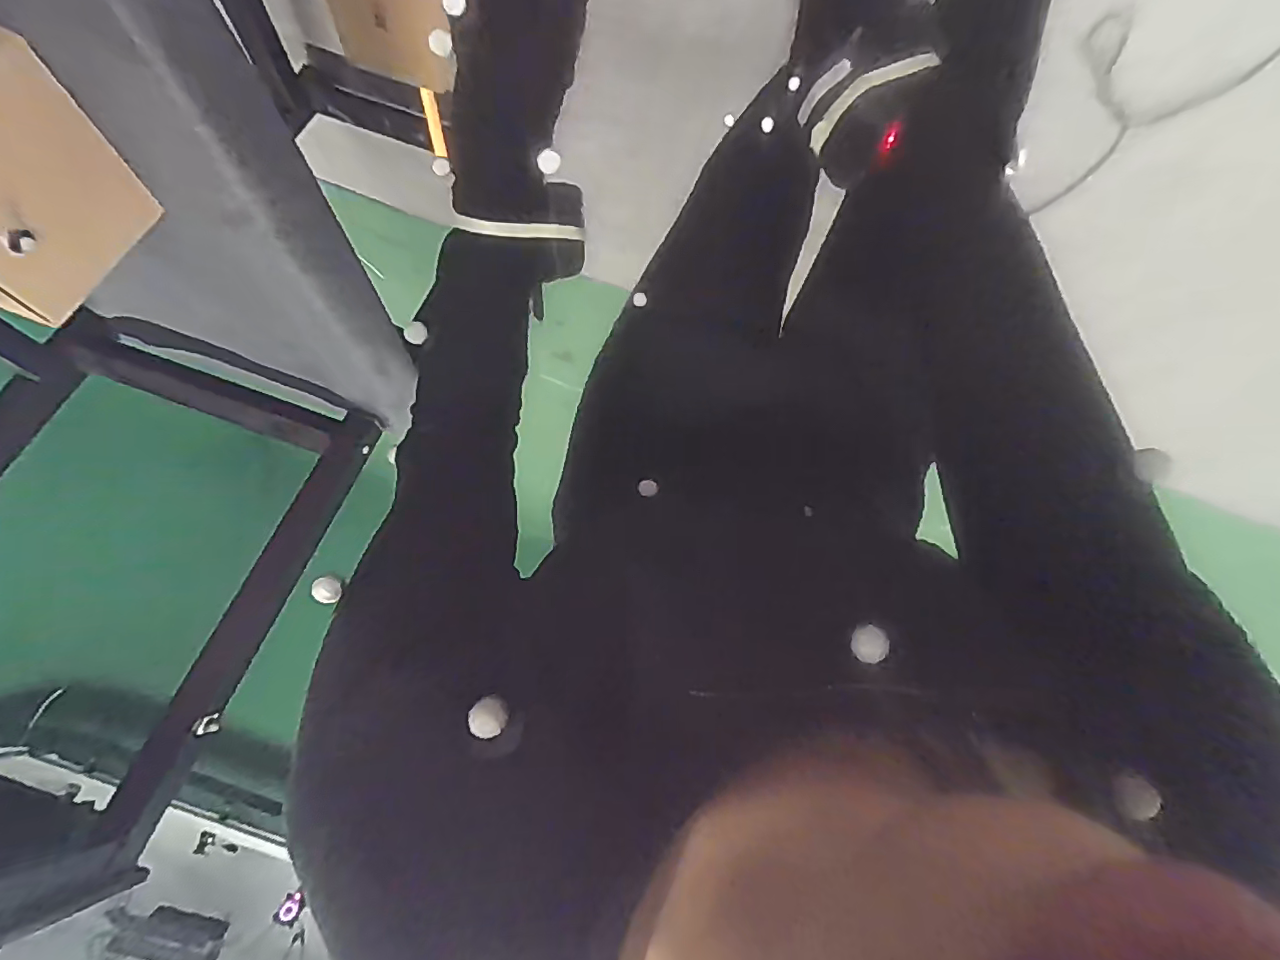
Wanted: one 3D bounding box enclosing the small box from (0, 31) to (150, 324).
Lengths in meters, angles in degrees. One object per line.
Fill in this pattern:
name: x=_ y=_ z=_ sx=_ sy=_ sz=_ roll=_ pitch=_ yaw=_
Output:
small box: x=-0.593 y=-0.275 z=0.461 sx=0.168 sy=0.176 sz=0.179 roll=20 pitch=158 yaw=-3
